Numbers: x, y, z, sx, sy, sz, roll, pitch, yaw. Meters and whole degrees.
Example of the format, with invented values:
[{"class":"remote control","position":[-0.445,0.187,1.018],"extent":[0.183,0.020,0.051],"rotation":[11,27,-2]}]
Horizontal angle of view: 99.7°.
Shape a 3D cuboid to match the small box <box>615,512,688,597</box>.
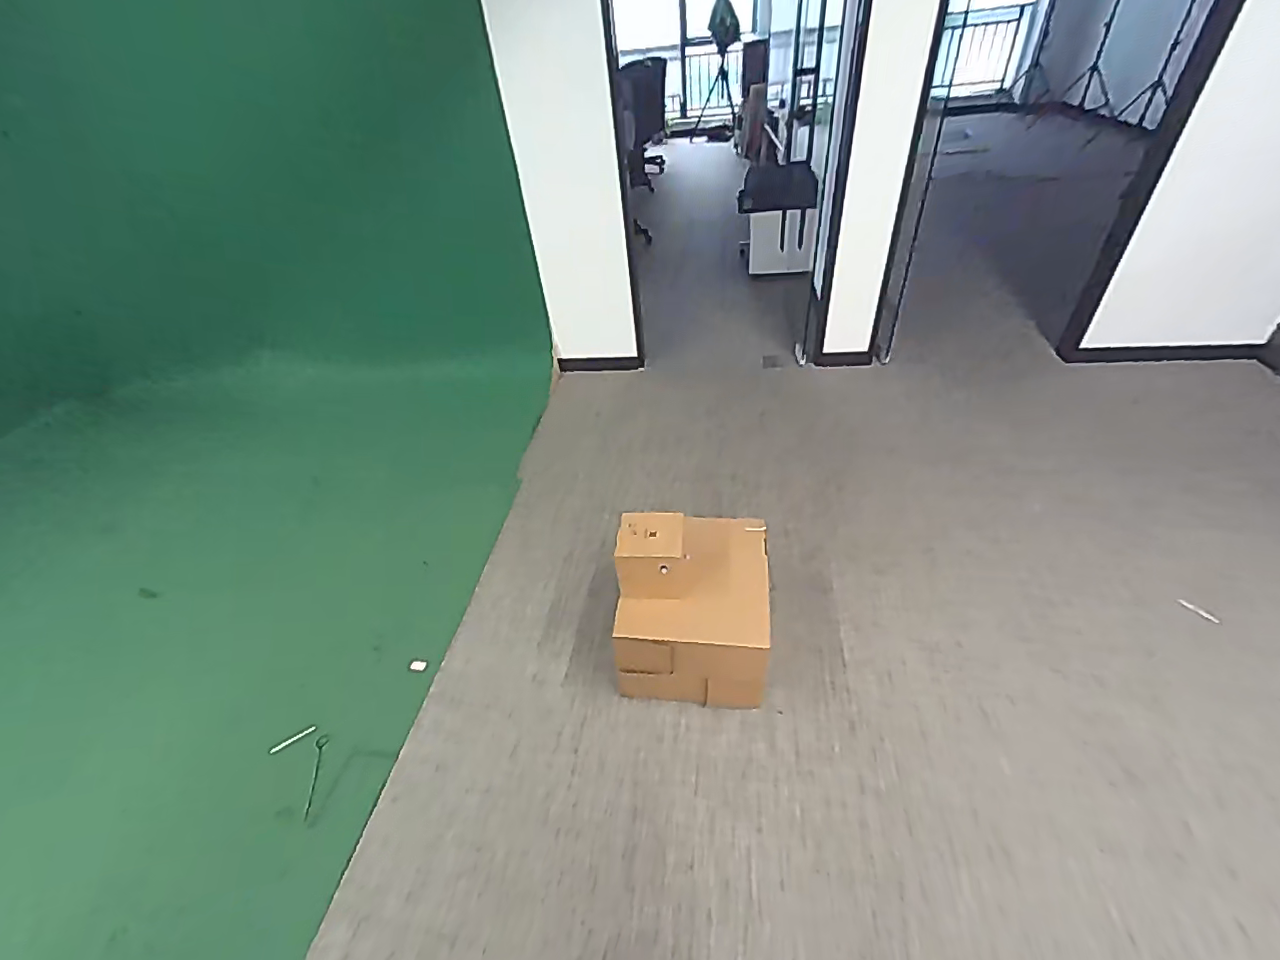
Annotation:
[{"class":"small box","position":[0.038,0.205,1.475],"extent":[0.179,0.176,0.168],"rotation":[-1,39,9]}]
